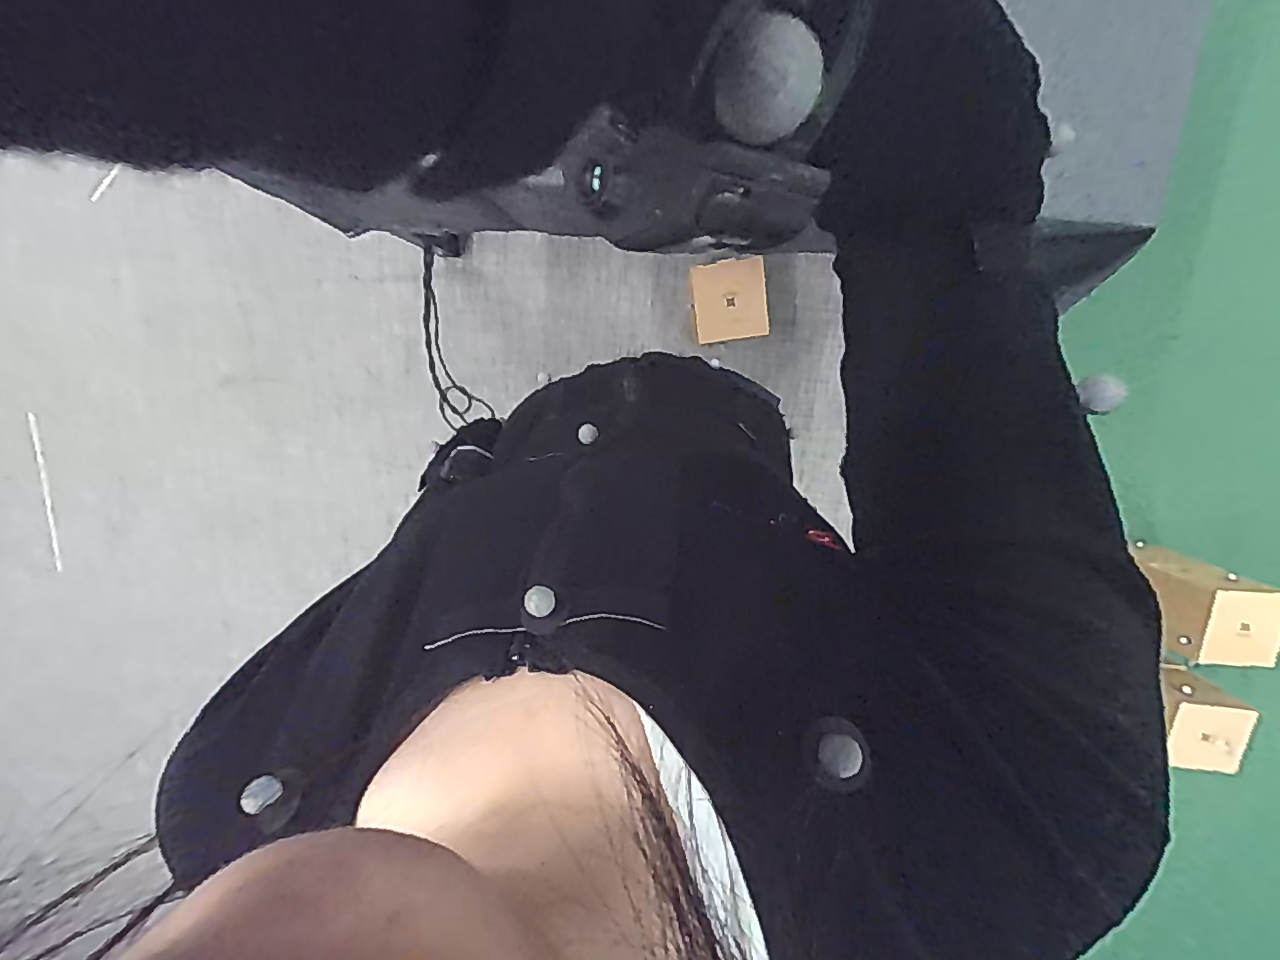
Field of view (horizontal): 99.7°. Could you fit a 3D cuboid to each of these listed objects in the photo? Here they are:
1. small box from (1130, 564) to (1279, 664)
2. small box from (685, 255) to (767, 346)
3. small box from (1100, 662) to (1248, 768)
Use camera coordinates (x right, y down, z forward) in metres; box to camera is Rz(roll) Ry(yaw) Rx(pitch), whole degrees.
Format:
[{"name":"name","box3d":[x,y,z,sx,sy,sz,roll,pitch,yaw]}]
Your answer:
[{"name":"small box","box3d":[1.307,0.305,1.262,0.168,0.176,0.179,2,103,1]},{"name":"small box","box3d":[0.203,-0.426,1.307,0.168,0.176,0.179,-7,102,4]},{"name":"small box","box3d":[1.286,0.565,1.319,0.179,0.176,0.168,6,104,1]}]
